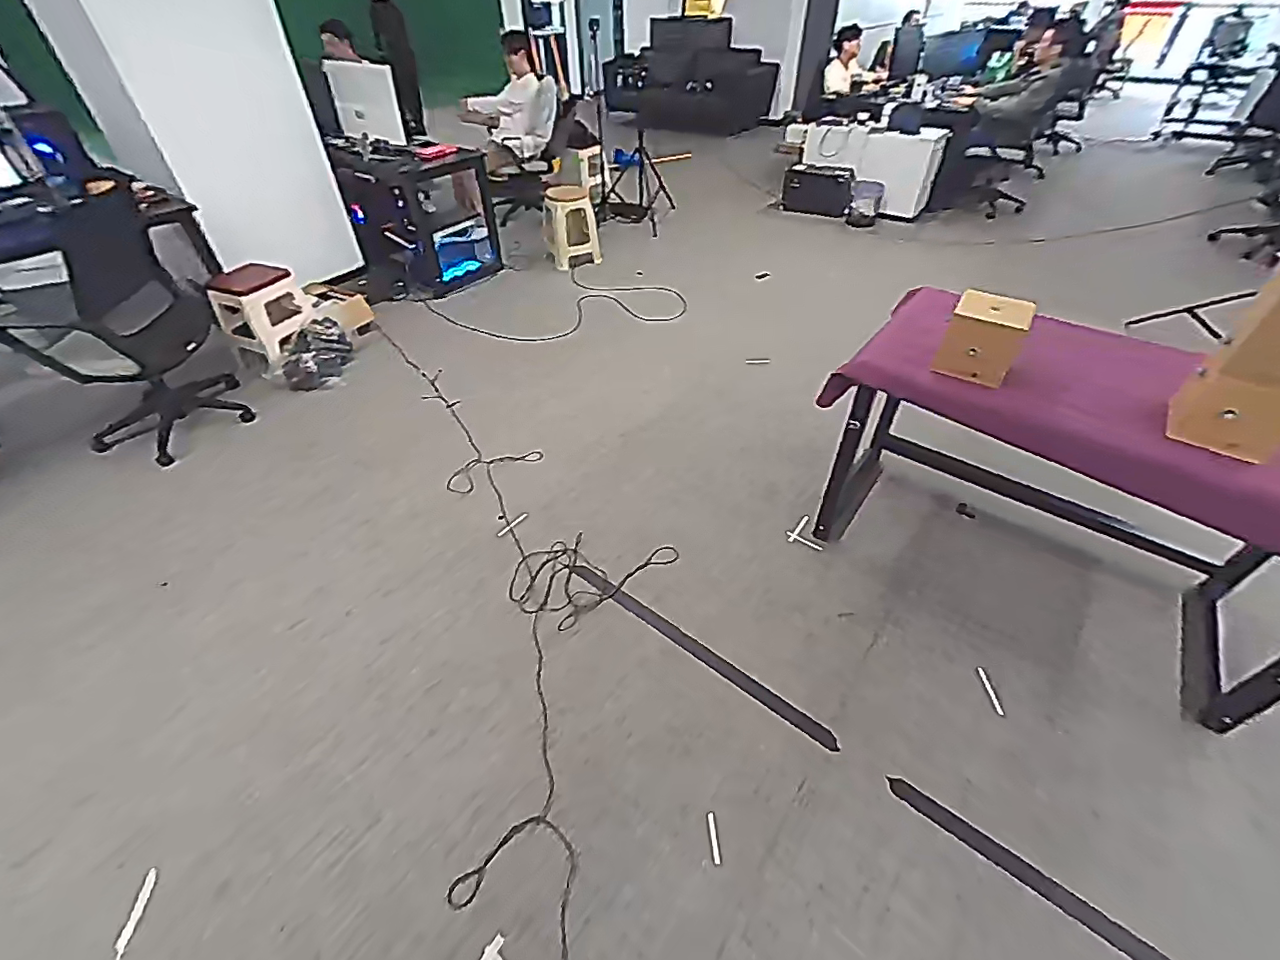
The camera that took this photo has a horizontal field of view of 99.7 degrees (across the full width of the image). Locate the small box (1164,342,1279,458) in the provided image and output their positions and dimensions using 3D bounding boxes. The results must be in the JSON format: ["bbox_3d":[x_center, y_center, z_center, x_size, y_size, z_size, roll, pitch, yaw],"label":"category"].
[{"bbox_3d":[1.312,-0.175,1.195,0.168,0.176,0.179,27,49,28],"label":"small box"}]

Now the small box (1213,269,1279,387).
[{"bbox_3d":[1.313,-0.298,1.086,0.168,0.176,0.179,28,50,28],"label":"small box"}]

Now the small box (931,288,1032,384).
[{"bbox_3d":[0.885,-0.375,1.414,0.168,0.176,0.179,24,48,24],"label":"small box"}]
